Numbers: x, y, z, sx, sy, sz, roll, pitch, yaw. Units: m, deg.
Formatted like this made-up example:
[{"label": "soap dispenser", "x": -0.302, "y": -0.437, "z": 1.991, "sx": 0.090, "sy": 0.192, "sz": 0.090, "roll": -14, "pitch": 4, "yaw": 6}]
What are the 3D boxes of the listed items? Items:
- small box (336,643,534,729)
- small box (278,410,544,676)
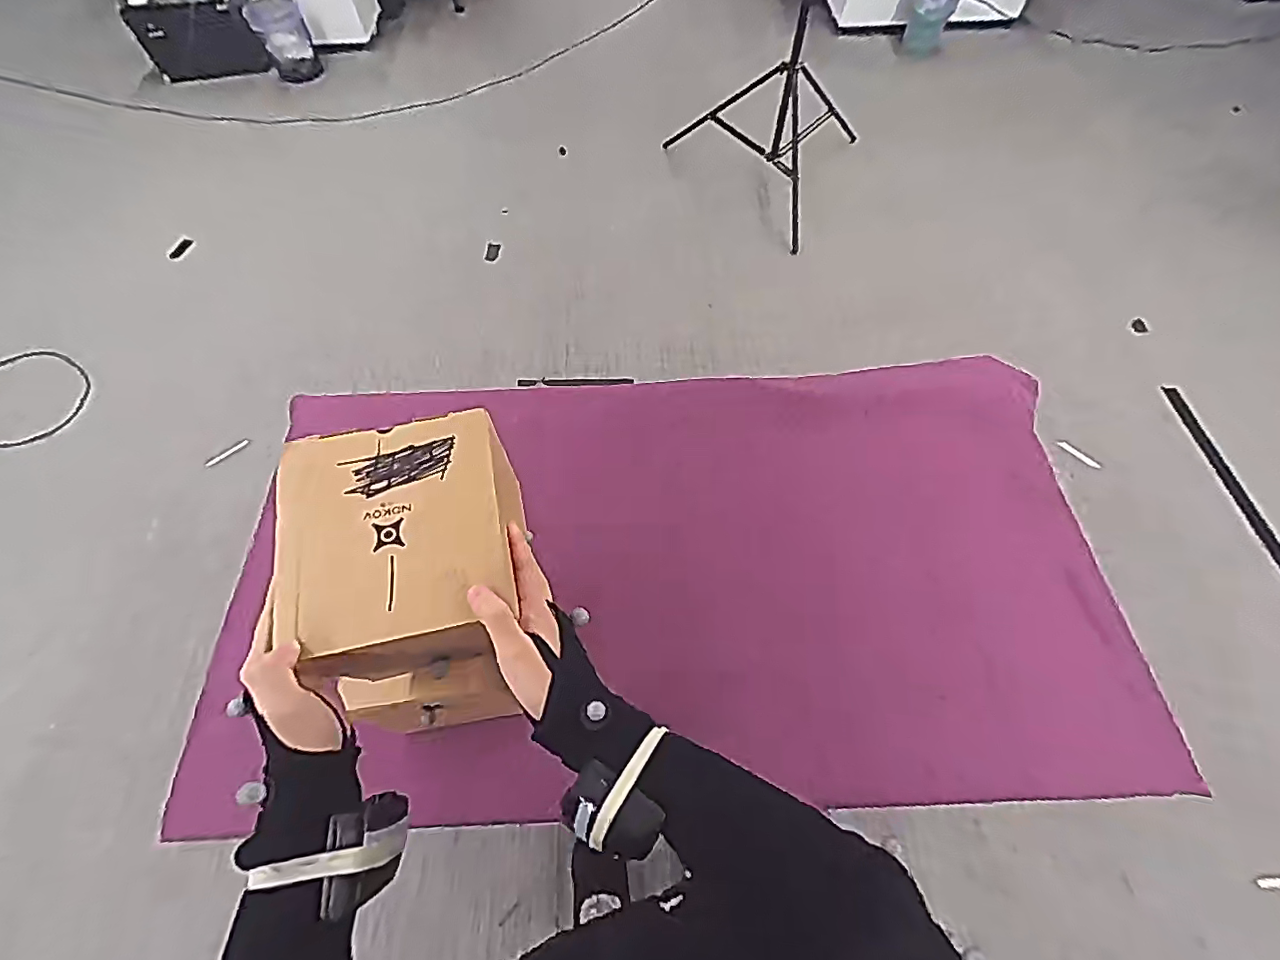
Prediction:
[{"label": "small box", "x": -0.225, "y": 0.191, "z": 0.645, "sx": 0.179, "sy": 0.176, "sz": 0.168, "roll": -8, "pitch": 60, "yaw": -4}, {"label": "small box", "x": -0.187, "y": 0.064, "z": 0.481, "sx": 0.168, "sy": 0.176, "sz": 0.179, "roll": -12, "pitch": 69, "yaw": -7}]
